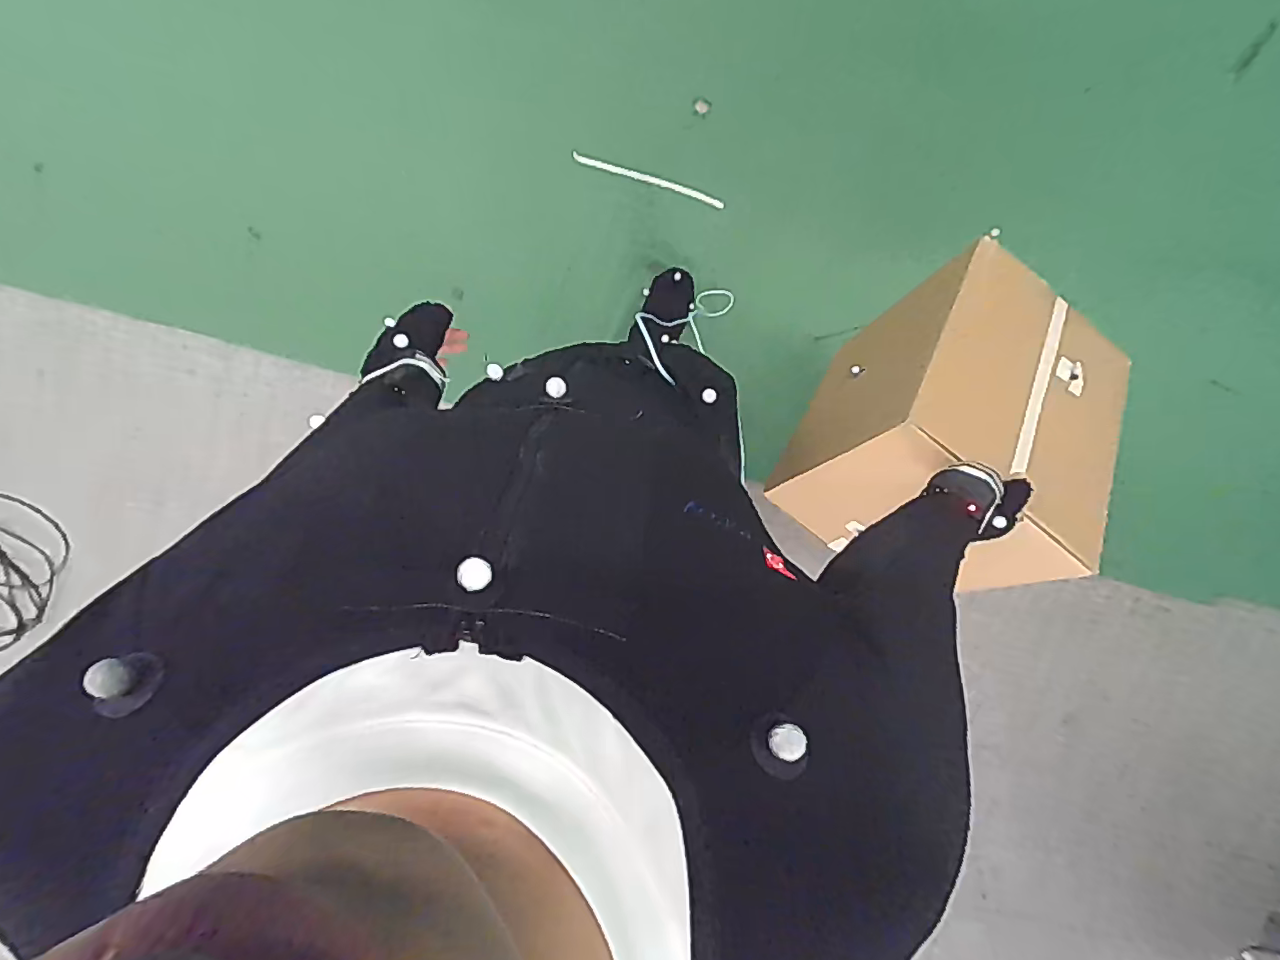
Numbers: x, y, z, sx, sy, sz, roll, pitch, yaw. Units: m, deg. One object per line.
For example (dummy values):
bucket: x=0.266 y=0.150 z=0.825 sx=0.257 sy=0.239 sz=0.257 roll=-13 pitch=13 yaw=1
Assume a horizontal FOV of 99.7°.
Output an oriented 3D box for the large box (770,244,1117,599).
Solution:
large box: x=0.476 y=-0.073 z=0.871 sx=0.320 sy=0.320 sz=0.408 roll=38 pitch=63 yaw=-7
